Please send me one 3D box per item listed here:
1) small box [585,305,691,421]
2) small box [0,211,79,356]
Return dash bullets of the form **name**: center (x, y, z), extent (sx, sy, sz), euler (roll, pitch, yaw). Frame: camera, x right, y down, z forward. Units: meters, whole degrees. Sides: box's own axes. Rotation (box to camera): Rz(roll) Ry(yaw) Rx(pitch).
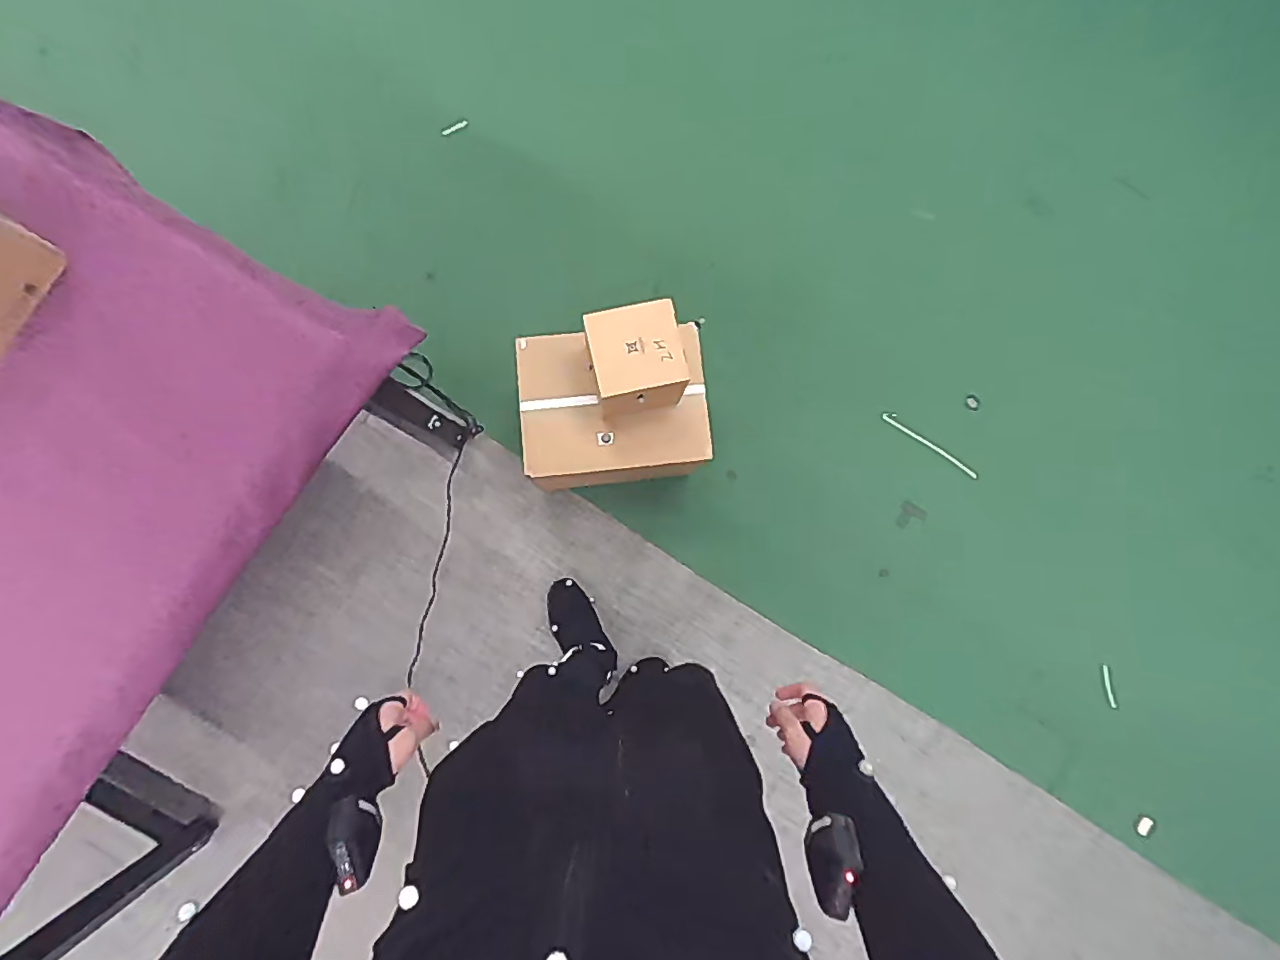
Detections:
- **small box**: center (-0.007, -0.229, 1.095), extent (0.179, 0.176, 0.168), euler (-12, 84, -5)
- **small box**: center (-0.846, -0.269, 0.628), extent (0.179, 0.176, 0.168), euler (31, 85, 0)
